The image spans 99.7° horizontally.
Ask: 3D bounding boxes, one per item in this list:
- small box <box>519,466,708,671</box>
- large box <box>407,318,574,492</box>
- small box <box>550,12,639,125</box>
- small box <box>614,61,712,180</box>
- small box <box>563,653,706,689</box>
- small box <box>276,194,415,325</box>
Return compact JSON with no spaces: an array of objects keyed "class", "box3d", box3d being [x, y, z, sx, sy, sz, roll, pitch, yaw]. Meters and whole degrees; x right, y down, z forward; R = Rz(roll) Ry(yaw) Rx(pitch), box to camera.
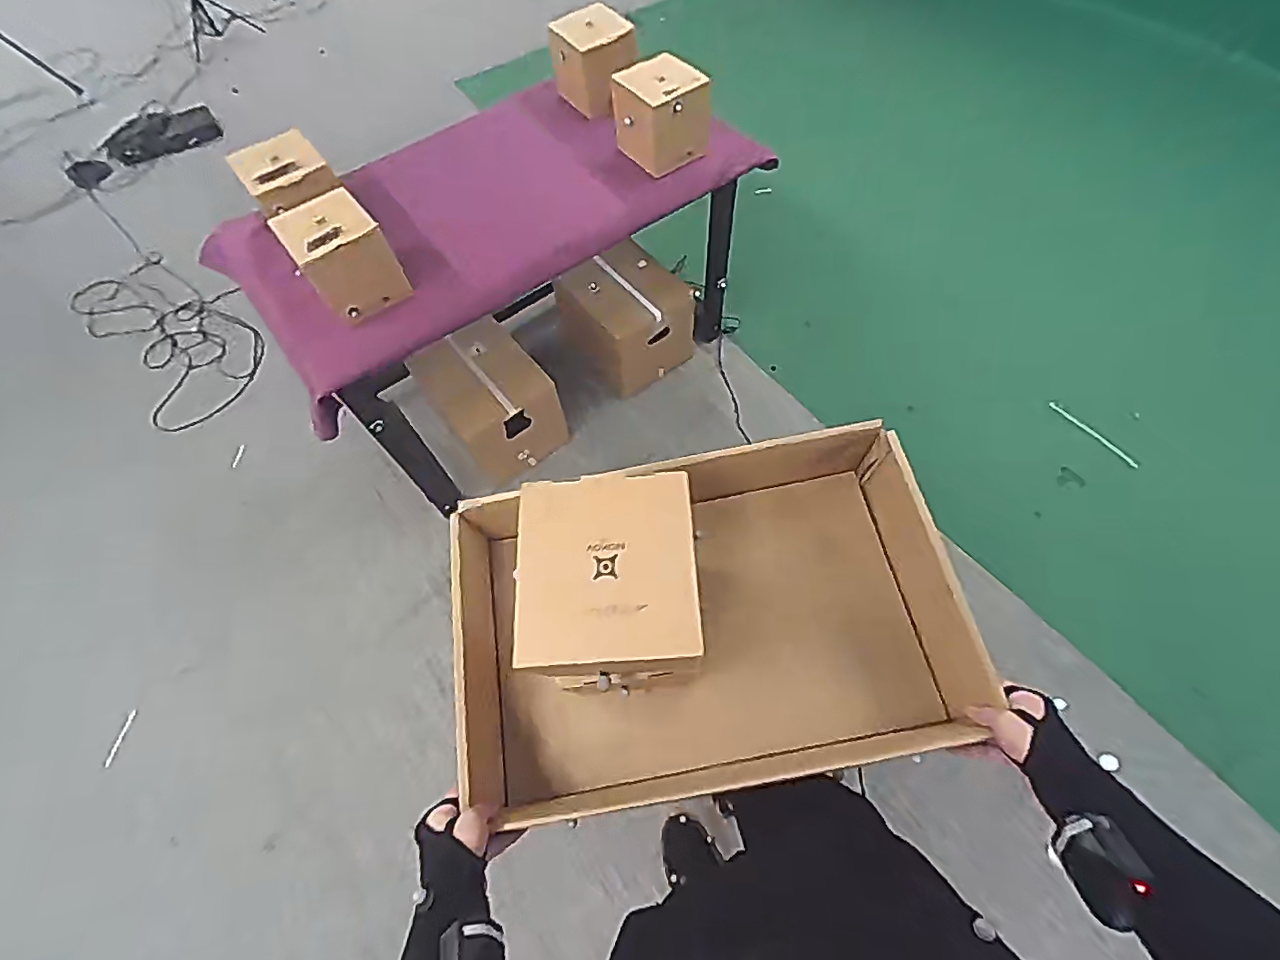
[{"class":"small box","box3d":[-0.021,0.101,0.570,0.168,0.176,0.179,-3,66,3]},{"class":"large box","box3d":[-0.474,-0.240,1.768,0.320,0.320,0.408,-37,65,-16]},{"class":"small box","box3d":[-0.115,-1.101,1.452,0.168,0.176,0.179,-34,66,-12]},{"class":"small box","box3d":[0.057,-0.873,1.320,0.168,0.176,0.179,-33,63,-12]},{"class":"small box","box3d":[-0.011,0.173,0.717,0.168,0.176,0.179,-7,67,0]},{"class":"small box","box3d":[-0.610,-0.453,1.138,0.168,0.176,0.179,-36,64,-16]}]
